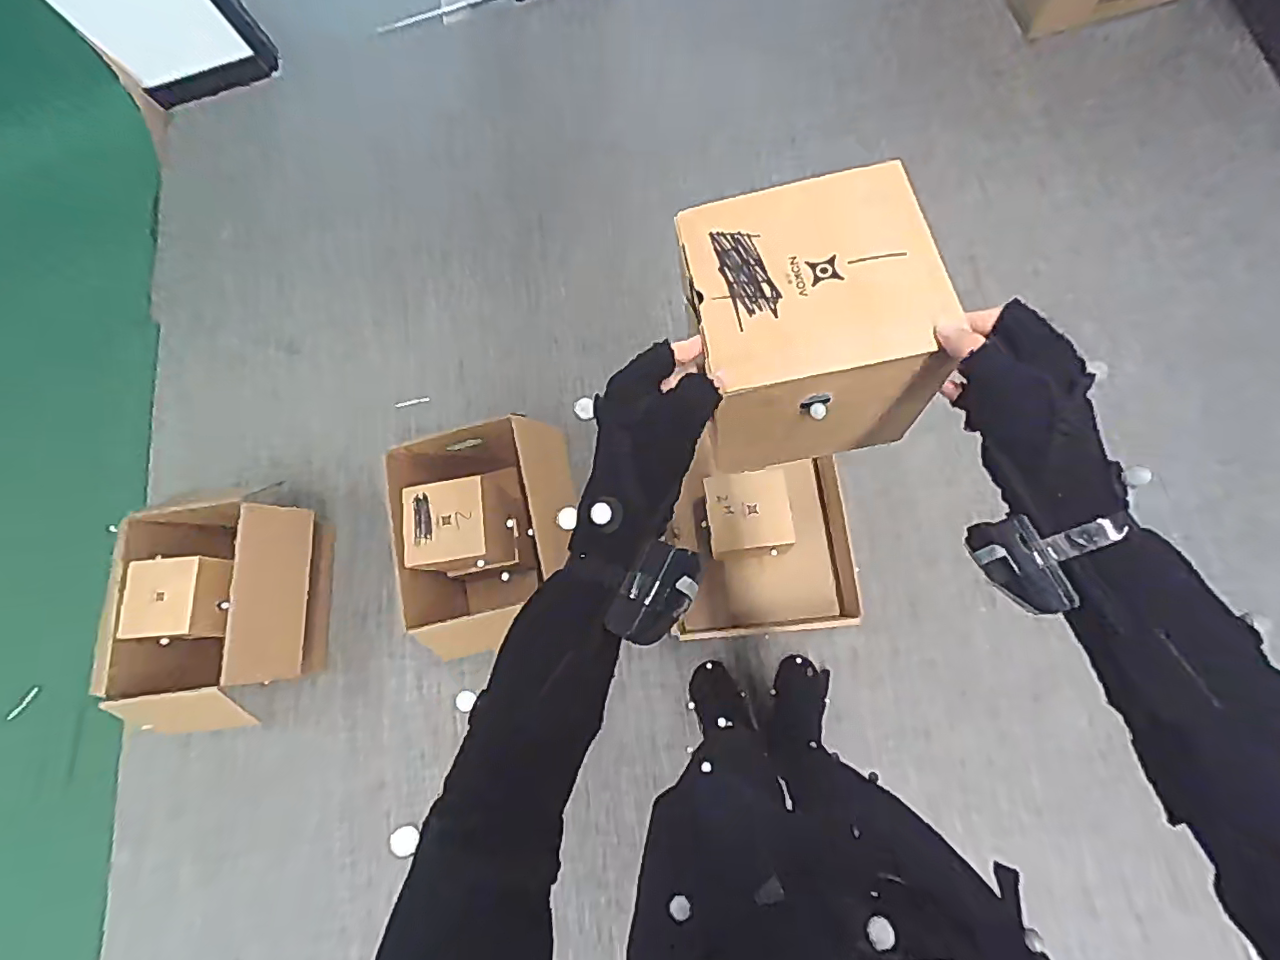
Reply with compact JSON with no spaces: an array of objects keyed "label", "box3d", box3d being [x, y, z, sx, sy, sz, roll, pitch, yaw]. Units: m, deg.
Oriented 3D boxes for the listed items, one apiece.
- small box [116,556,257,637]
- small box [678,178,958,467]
[{"label":"small box","box3d":[-1.025,0.268,1.238,0.179,0.176,0.168,-5,75,6]},{"label":"small box","box3d":[0.137,-0.123,0.481,0.179,0.176,0.168,-10,70,4]}]
